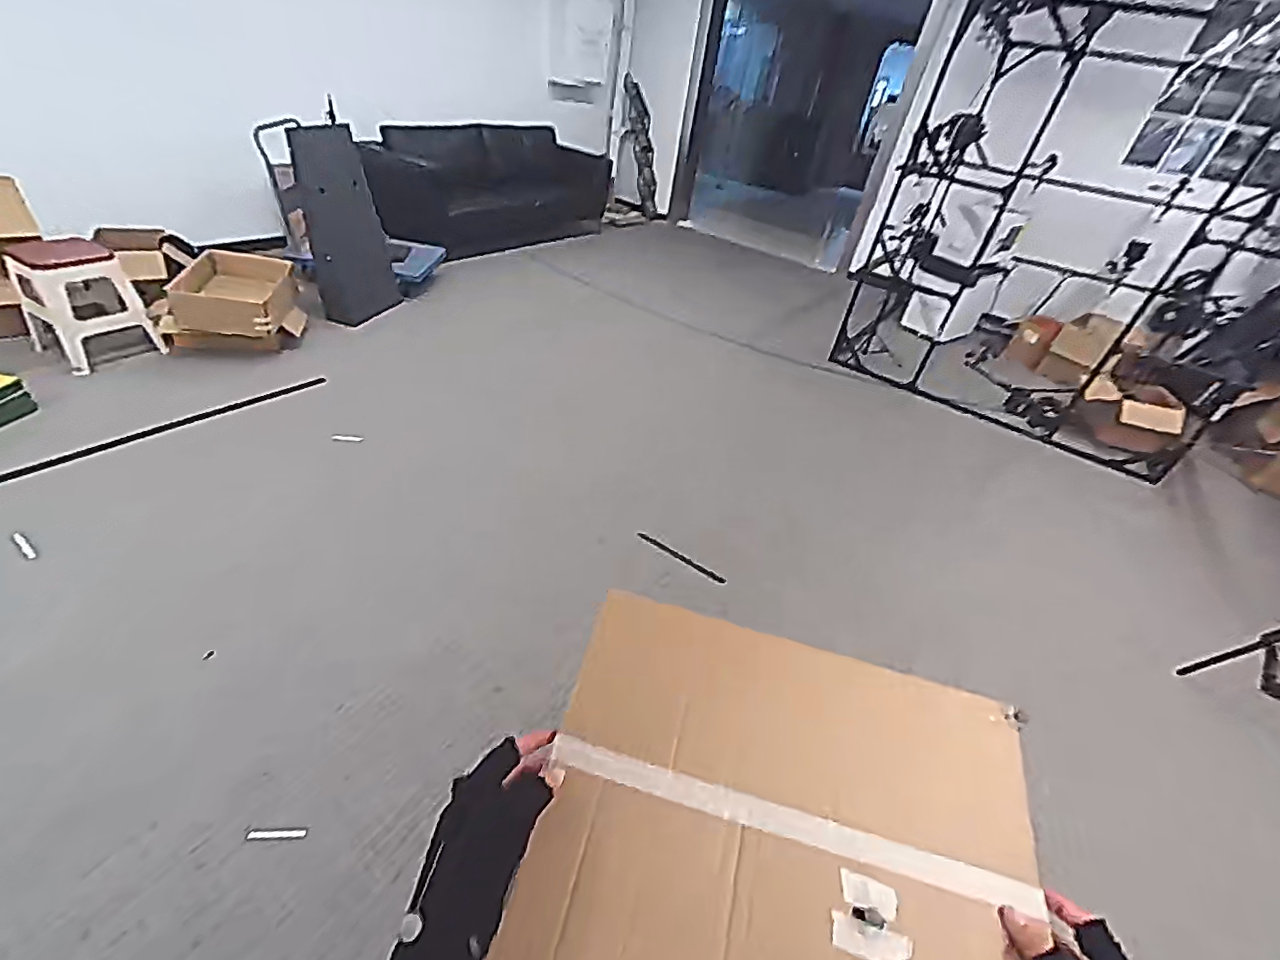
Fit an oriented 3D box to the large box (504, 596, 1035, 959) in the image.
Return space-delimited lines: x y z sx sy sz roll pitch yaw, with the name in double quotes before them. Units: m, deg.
"large box" 0.114 0.374 0.584 0.408 0.320 0.320 15 54 6
